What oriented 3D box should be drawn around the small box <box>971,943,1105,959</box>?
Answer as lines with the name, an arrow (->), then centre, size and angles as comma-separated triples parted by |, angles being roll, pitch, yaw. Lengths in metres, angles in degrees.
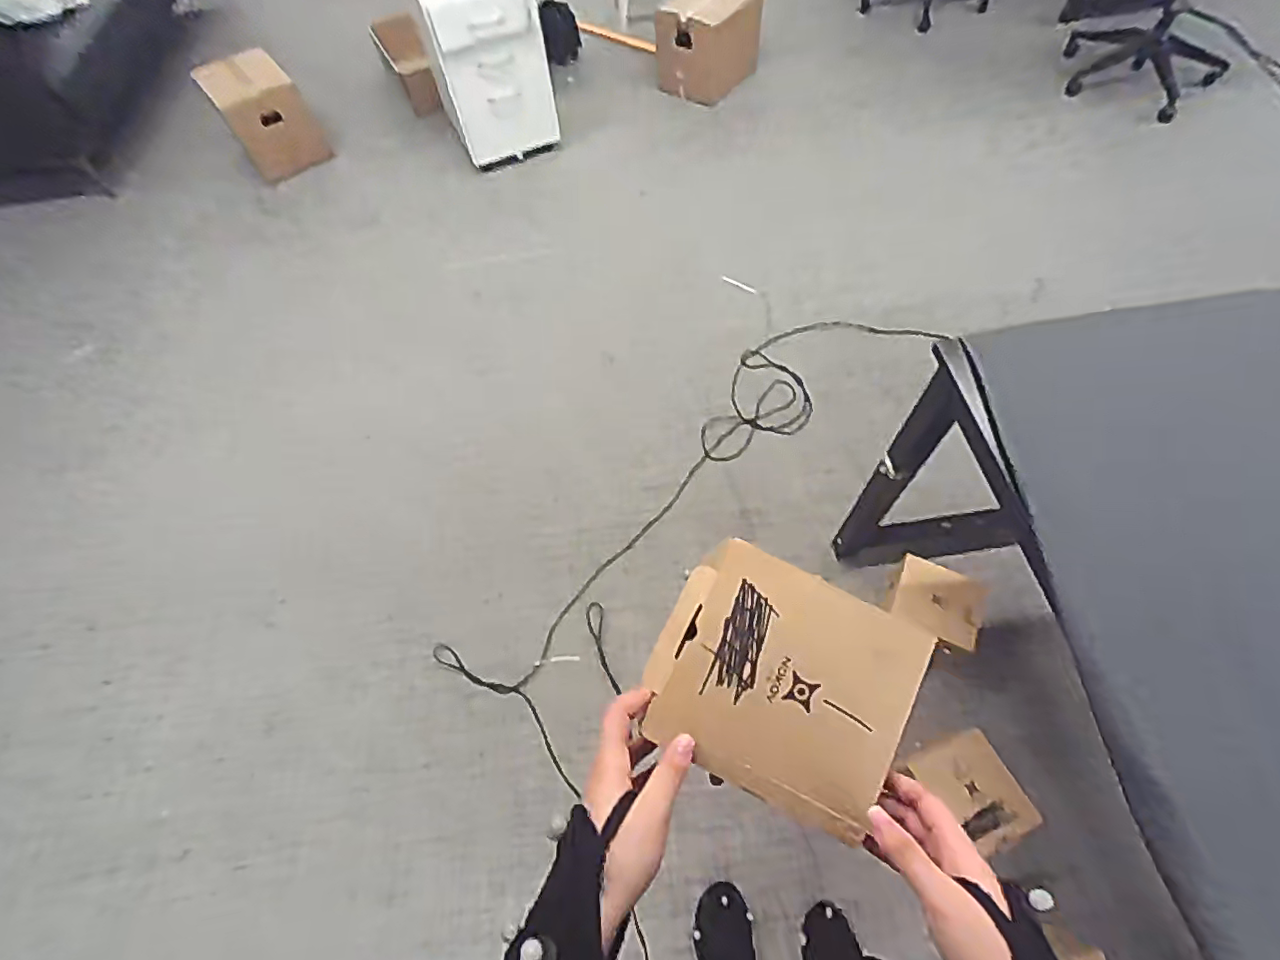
small box -> 0.695, 0.903, 0.900 | 0.168, 0.176, 0.179 | -9, 60, 0

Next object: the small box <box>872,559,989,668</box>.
small box -> 0.662, 0.314, 1.249 | 0.179, 0.176, 0.168 | 22, 64, 16
